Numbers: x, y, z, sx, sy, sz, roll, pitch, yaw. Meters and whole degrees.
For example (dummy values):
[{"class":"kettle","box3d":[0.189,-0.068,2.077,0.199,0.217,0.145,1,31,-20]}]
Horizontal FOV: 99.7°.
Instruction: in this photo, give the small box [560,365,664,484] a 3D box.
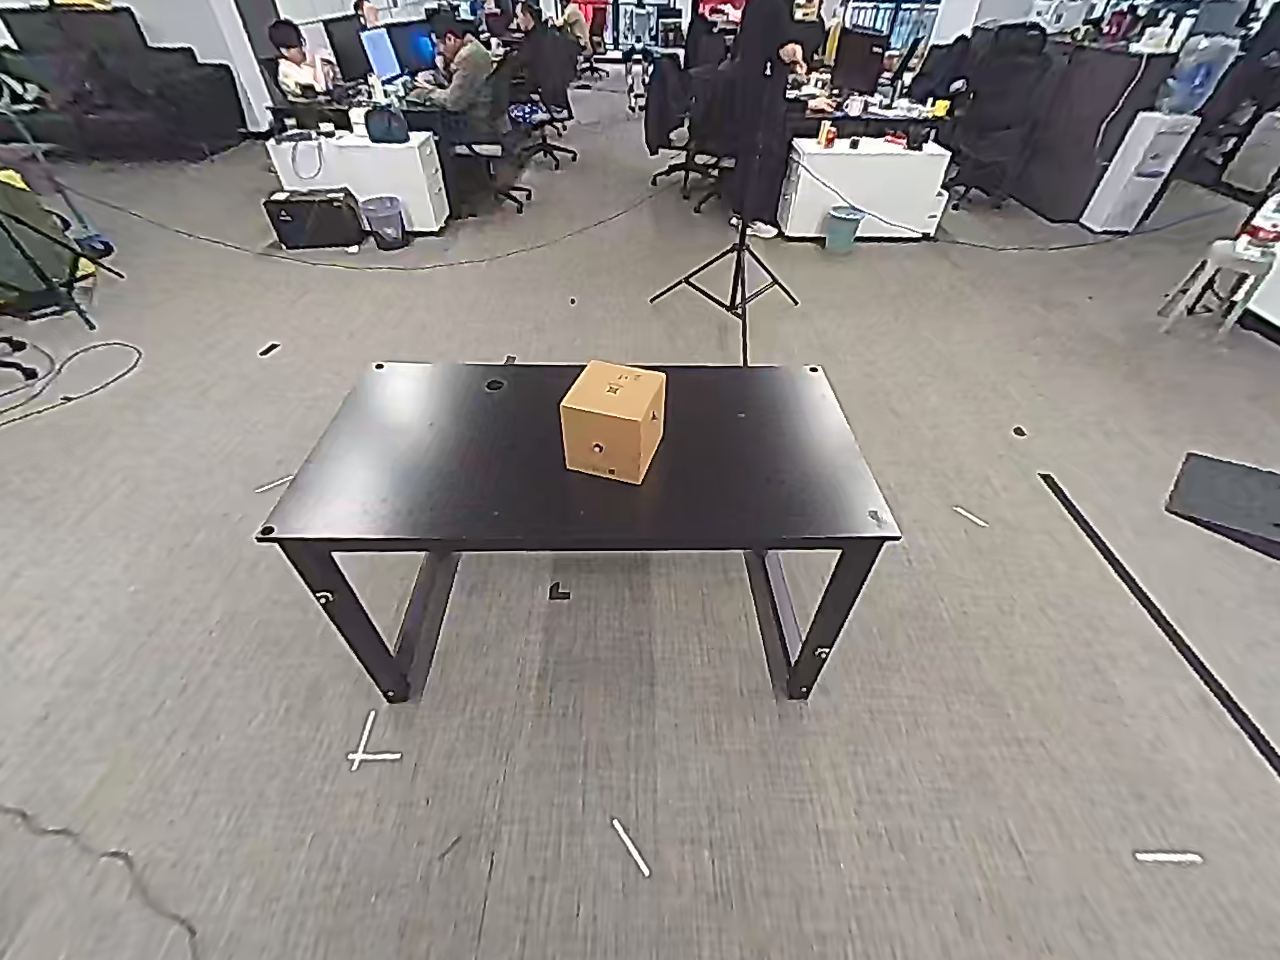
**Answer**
[{"class":"small box","box3d":[-0.052,-0.116,1.143,0.168,0.176,0.179,13,45,13]}]
